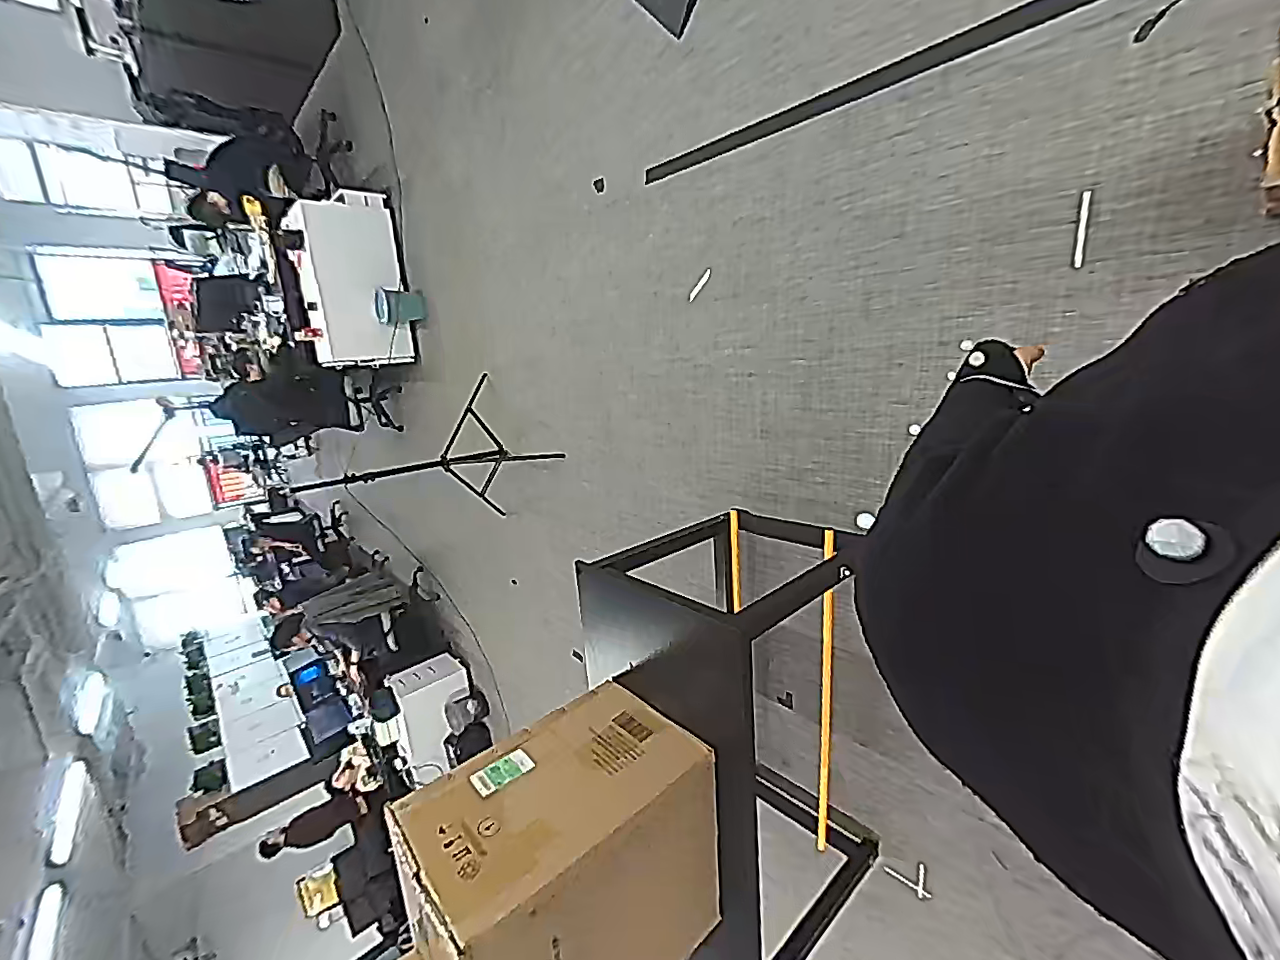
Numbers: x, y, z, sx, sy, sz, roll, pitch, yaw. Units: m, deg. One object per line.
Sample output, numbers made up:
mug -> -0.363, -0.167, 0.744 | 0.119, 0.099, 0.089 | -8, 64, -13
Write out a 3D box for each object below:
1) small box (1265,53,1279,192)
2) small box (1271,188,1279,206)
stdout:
small box -> 0.971, -0.500, 0.715 | 0.179, 0.176, 0.168 | 5, 107, 49
small box -> 1.090, -0.534, 0.822 | 0.168, 0.176, 0.179 | 2, 105, 51
